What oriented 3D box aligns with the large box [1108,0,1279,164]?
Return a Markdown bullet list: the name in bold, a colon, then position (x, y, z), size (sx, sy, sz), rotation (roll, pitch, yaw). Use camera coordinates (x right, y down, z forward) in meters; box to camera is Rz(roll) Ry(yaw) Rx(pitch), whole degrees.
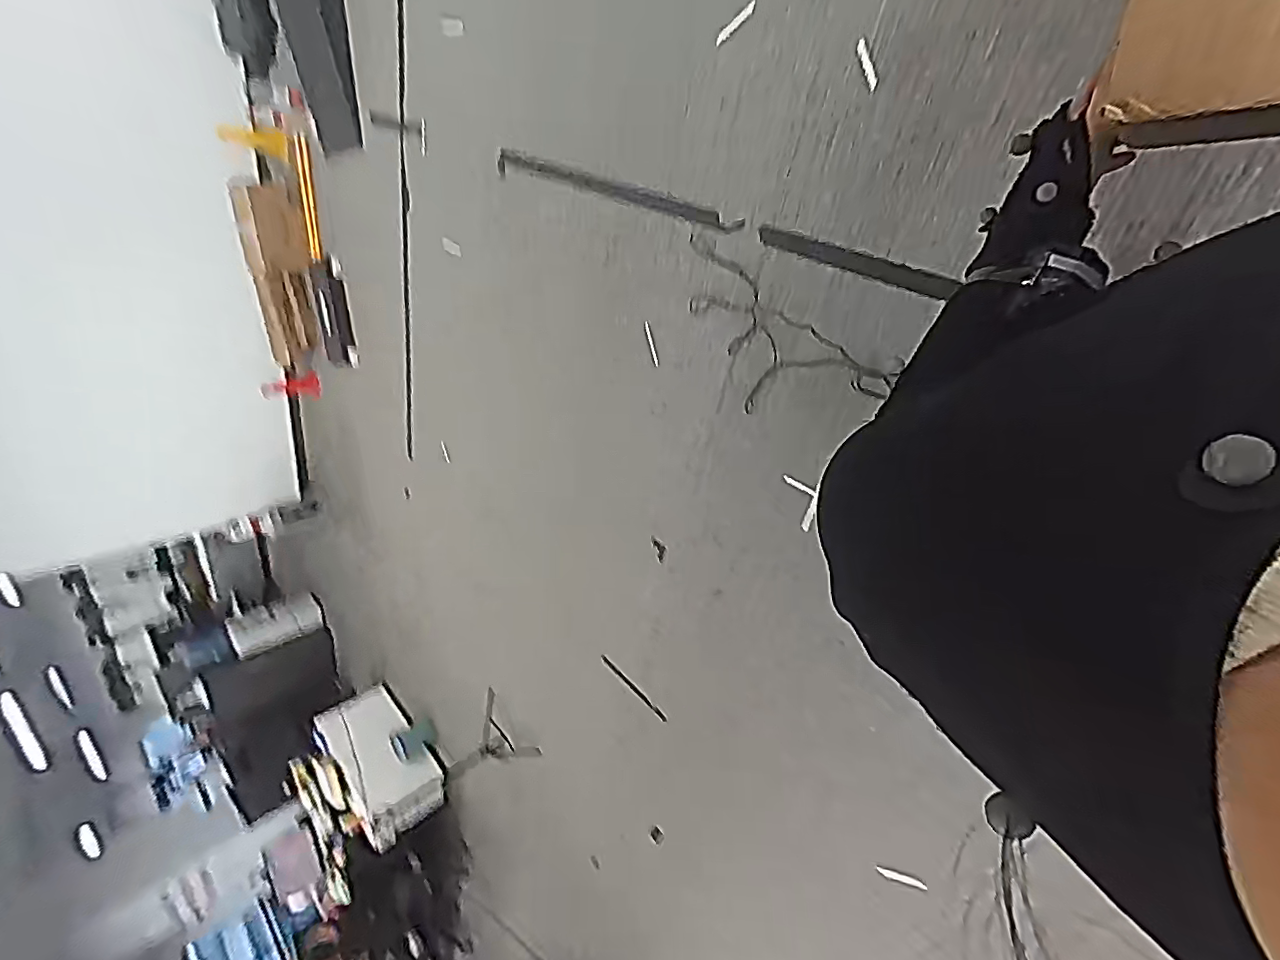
- **large box**: position (0.446, -0.313, 0.174), size (0.408, 0.320, 0.320), rotation (14, 122, 37)
